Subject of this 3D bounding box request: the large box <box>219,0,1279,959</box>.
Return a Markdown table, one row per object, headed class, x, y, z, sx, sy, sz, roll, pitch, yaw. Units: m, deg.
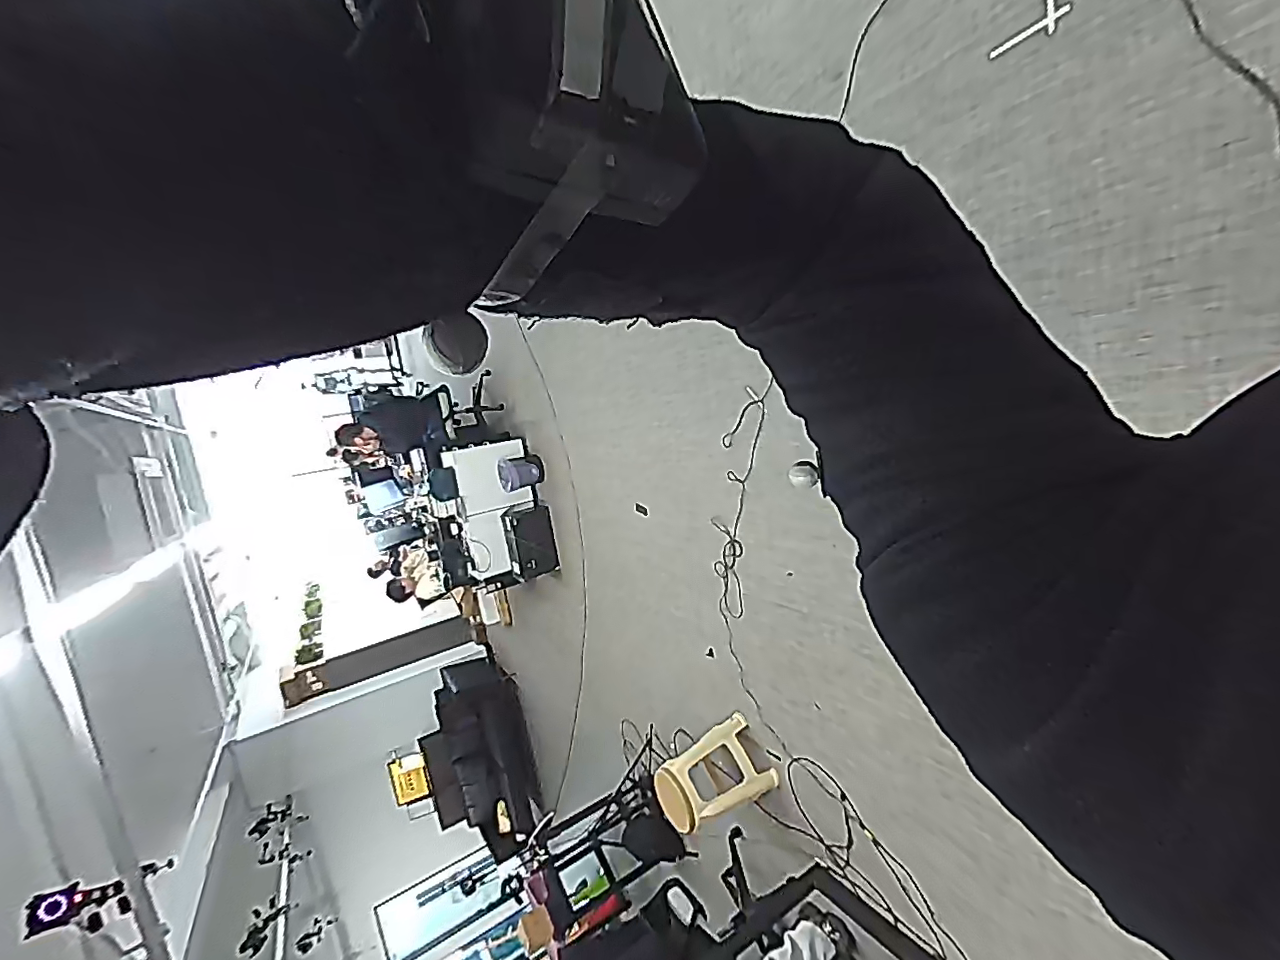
| class | x | y | z | sx | sy | sz | roll | pitch | yaw |
| --- | --- | --- | --- | --- | --- | --- | --- | --- | --- |
| large box | 0.133 | 0.052 | 0.154 | 0.408 | 0.320 | 0.320 | 16 | -112 | 55 |
